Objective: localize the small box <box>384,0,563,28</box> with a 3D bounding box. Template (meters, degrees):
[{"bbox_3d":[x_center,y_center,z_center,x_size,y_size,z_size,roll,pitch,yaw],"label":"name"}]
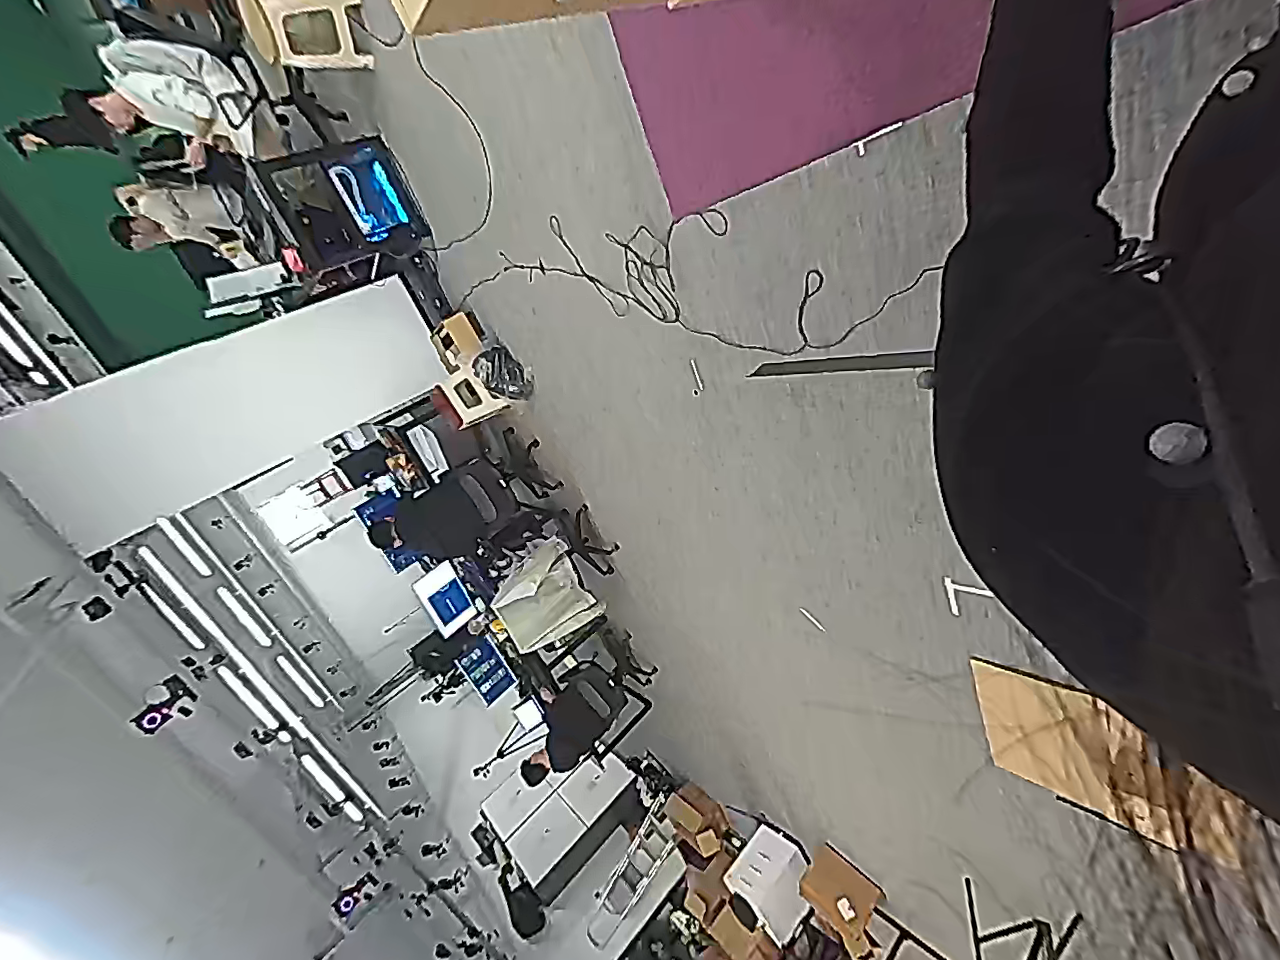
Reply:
[{"bbox_3d":[-0.124,-0.485,0.401,0.168,0.176,0.179,11,131,51],"label":"small box"}]

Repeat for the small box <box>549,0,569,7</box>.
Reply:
[{"bbox_3d":[-0.011,-0.573,0.483,0.168,0.176,0.179,10,129,52],"label":"small box"}]

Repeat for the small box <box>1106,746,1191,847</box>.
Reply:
[{"bbox_3d":[1.582,0.975,1.683,0.168,0.176,0.179,10,130,54],"label":"small box"}]
